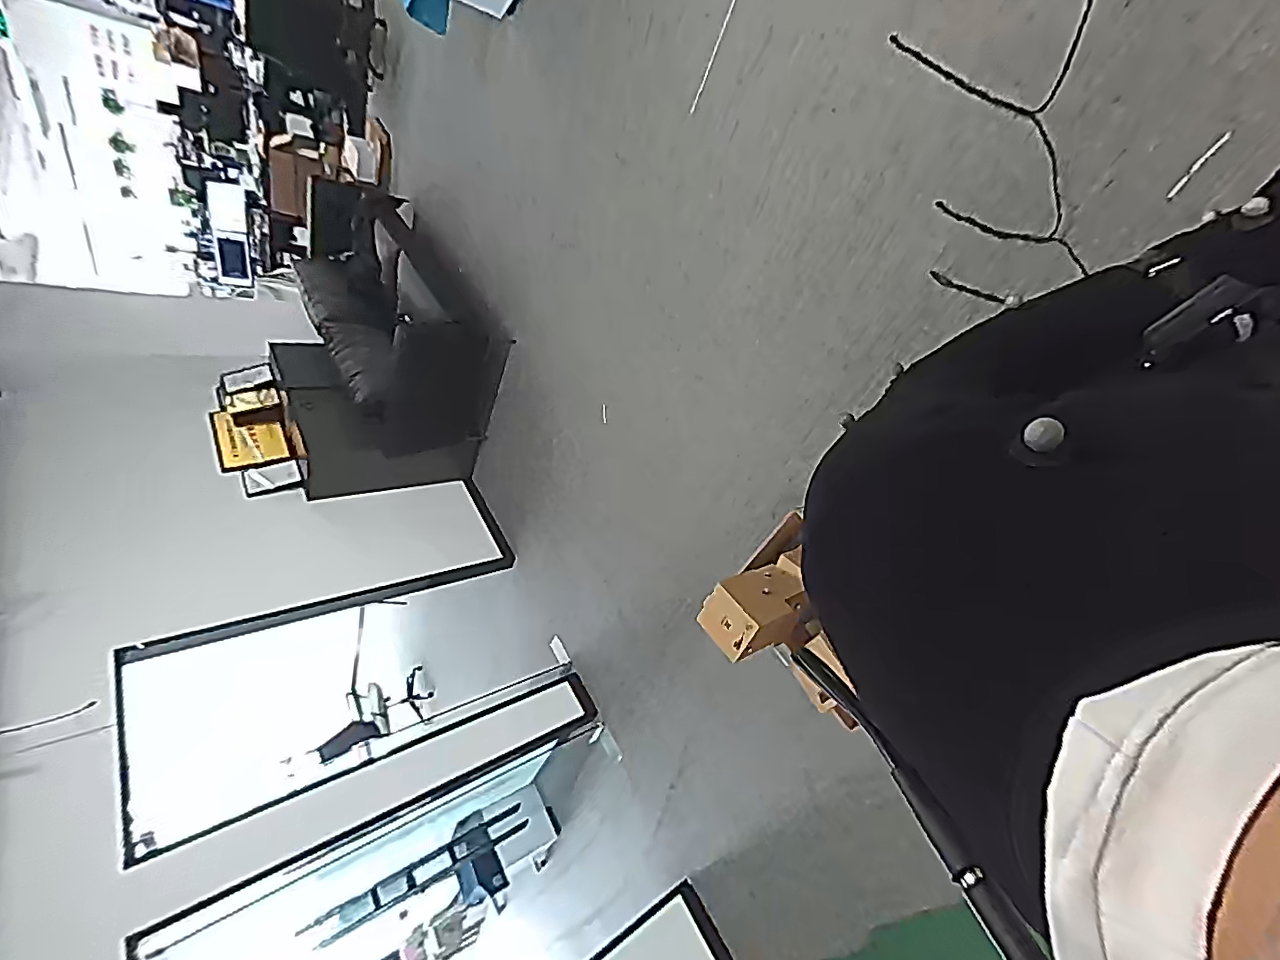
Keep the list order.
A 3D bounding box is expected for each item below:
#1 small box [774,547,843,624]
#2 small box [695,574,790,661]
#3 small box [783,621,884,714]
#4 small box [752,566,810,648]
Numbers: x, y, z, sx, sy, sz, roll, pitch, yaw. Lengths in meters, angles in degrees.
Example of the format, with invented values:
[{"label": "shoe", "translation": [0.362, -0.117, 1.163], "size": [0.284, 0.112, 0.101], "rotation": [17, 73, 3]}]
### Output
[{"label": "small box", "translation": [0.544, 0.345, 1.797], "size": [0.168, 0.176, 0.179], "rotation": [39, 125, 38]}, {"label": "small box", "translation": [0.301, 0.394, 1.585], "size": [0.179, 0.176, 0.168], "rotation": [48, 130, 34]}, {"label": "small box", "translation": [0.559, 0.535, 1.557], "size": [0.179, 0.176, 0.168], "rotation": [59, 136, 27]}, {"label": "small box", "translation": [0.413, 0.392, 1.707], "size": [0.168, 0.176, 0.179], "rotation": [27, 117, 44]}]
